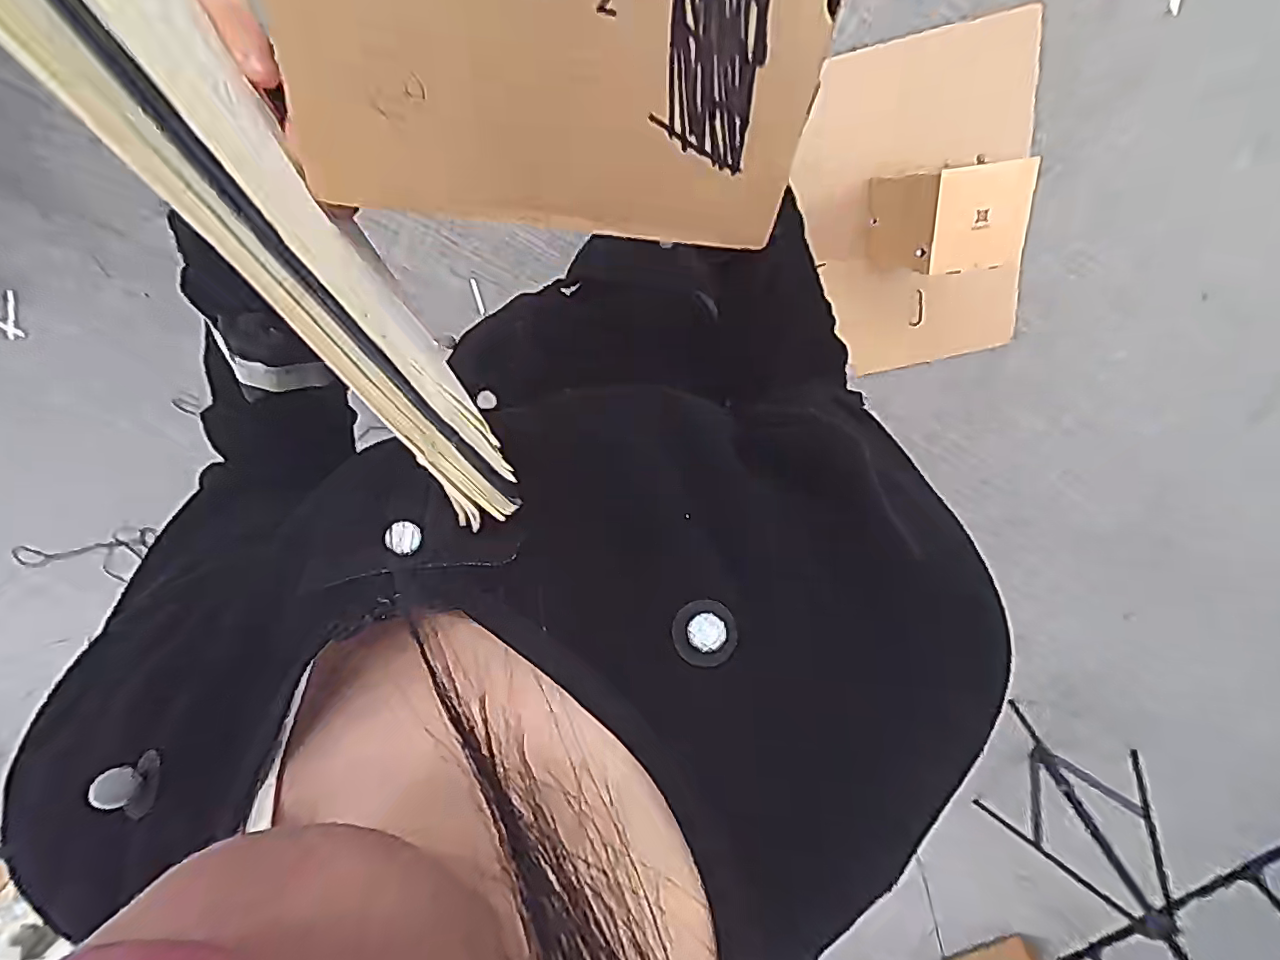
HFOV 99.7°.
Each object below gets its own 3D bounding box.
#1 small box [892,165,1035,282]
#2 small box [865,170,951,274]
[{"bbox_3d":[0.600,-0.490,1.031,0.168,0.176,0.179,-6,119,4],"label":"small box"},{"bbox_3d":[0.602,-0.564,1.176,0.168,0.176,0.179,-7,120,4],"label":"small box"}]
